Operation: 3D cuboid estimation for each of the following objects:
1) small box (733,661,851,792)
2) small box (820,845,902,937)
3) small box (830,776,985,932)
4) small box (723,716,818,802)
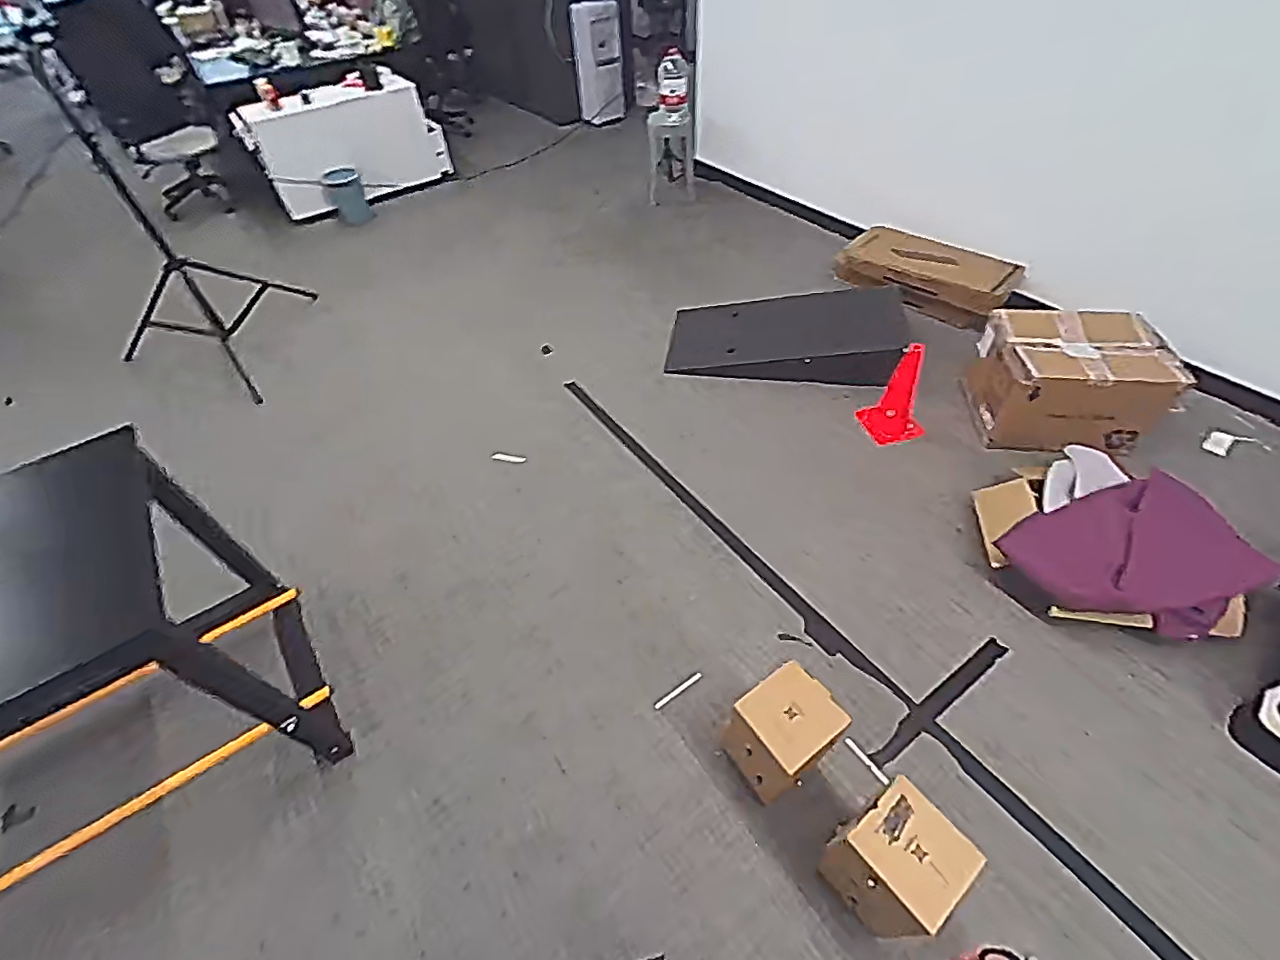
[{"bbox_3d":[0.317,0.534,1.169,0.179,0.176,0.168,-30,52,-19],"label":"small box"},{"bbox_3d":[0.501,0.812,1.133,0.179,0.176,0.168,-32,54,-21],"label":"small box"},{"bbox_3d":[0.485,0.701,1.011,0.168,0.176,0.179,-32,55,-22],"label":"small box"},{"bbox_3d":[0.317,0.638,1.294,0.168,0.176,0.179,-28,53,-20],"label":"small box"}]
